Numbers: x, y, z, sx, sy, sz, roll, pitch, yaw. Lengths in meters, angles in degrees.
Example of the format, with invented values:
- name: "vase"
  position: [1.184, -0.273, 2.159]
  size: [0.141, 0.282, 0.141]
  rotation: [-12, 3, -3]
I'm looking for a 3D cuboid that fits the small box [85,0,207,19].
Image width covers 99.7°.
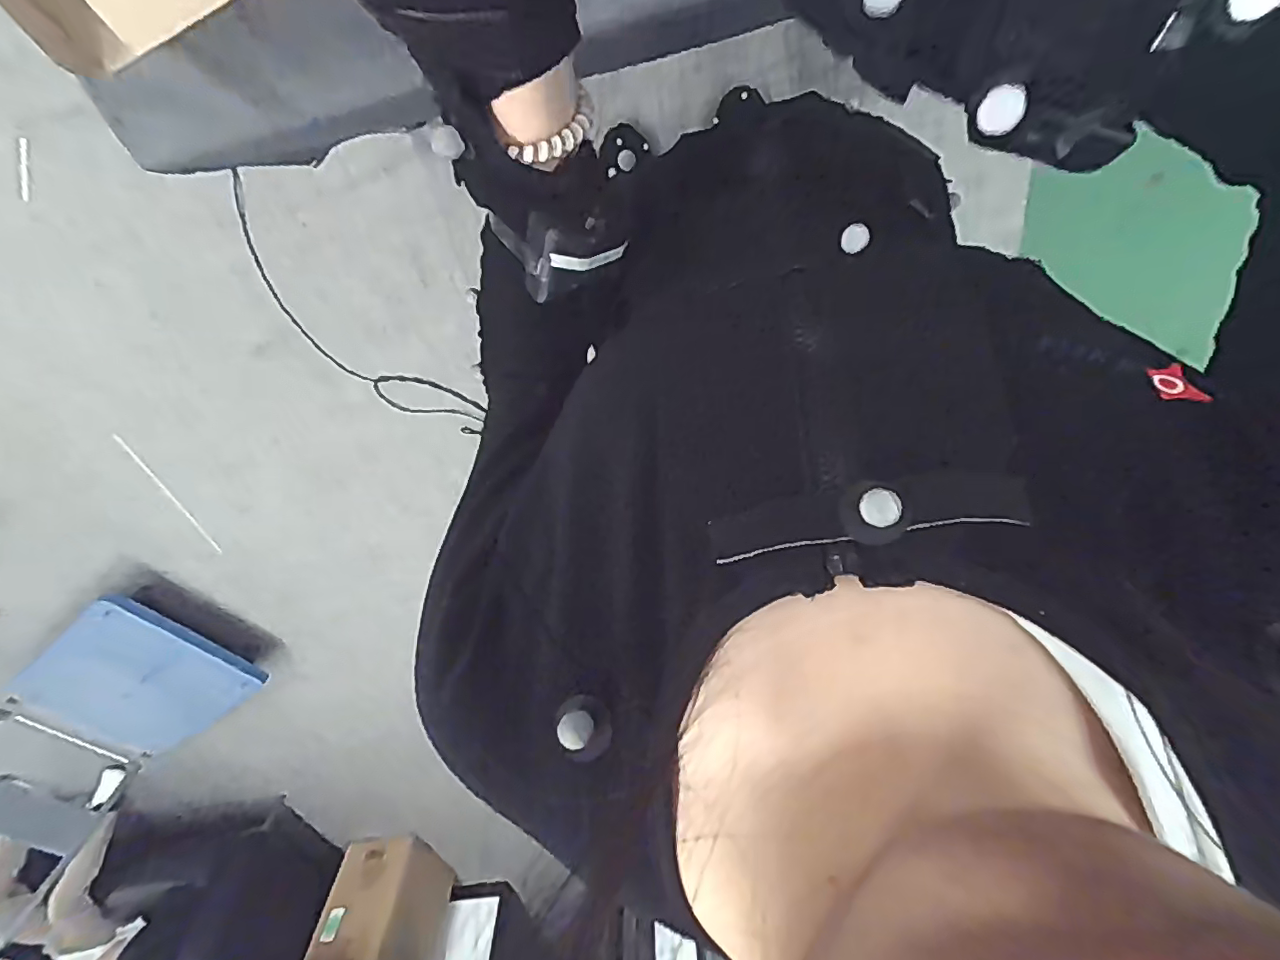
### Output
- name: "small box"
  position: [-0.410, -0.474, 0.386]
  size: [0.168, 0.176, 0.179]
  rotation: [-13, 123, 8]
